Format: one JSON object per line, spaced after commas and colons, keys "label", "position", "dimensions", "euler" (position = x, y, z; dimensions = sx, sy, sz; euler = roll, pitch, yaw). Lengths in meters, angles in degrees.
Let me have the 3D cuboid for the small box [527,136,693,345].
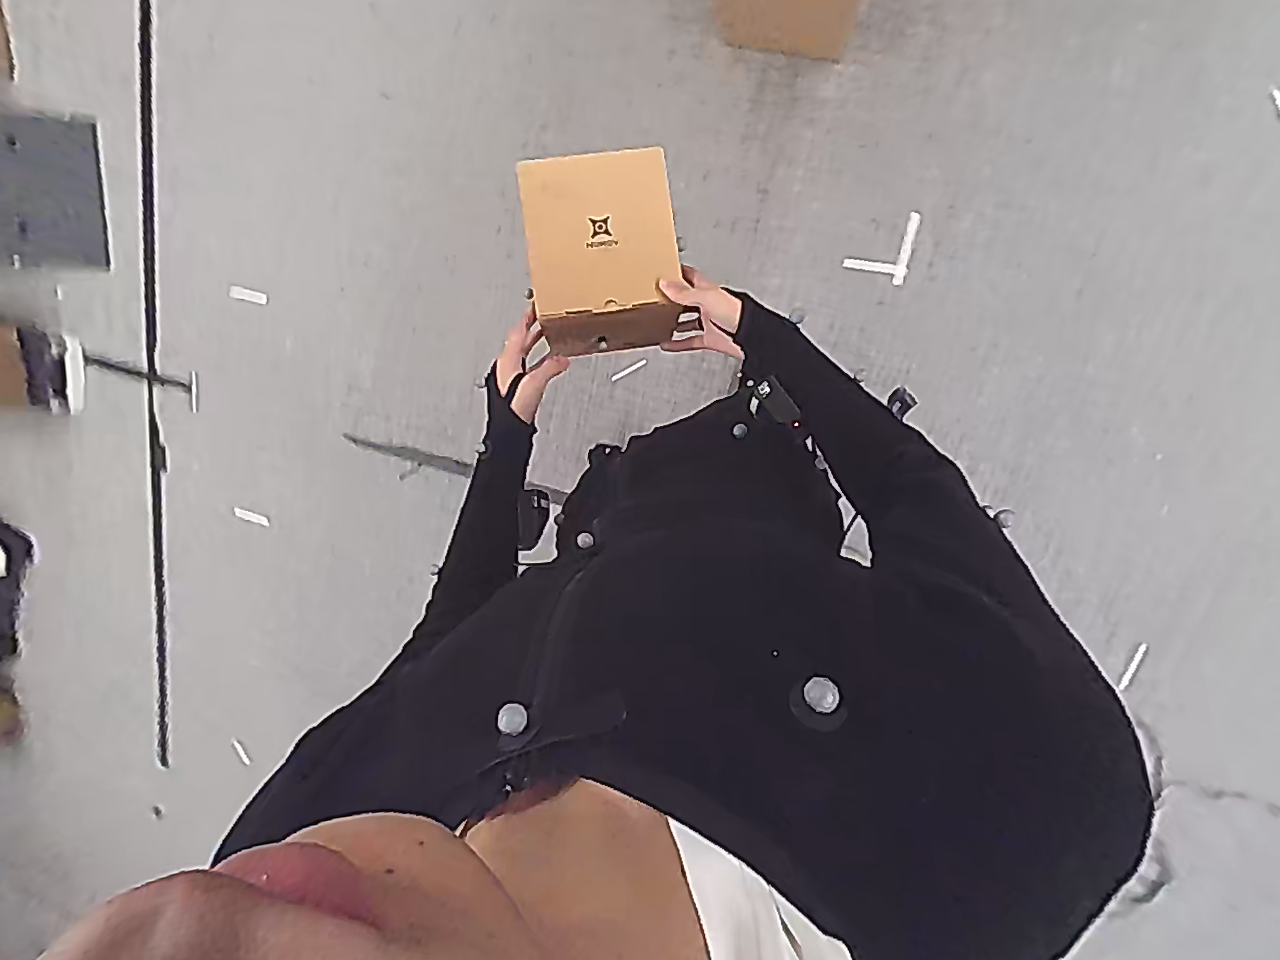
{"label": "small box", "position": [-0.038, -0.279, 0.663], "dimensions": [0.168, 0.176, 0.179], "euler": [-8, 91, -3]}
